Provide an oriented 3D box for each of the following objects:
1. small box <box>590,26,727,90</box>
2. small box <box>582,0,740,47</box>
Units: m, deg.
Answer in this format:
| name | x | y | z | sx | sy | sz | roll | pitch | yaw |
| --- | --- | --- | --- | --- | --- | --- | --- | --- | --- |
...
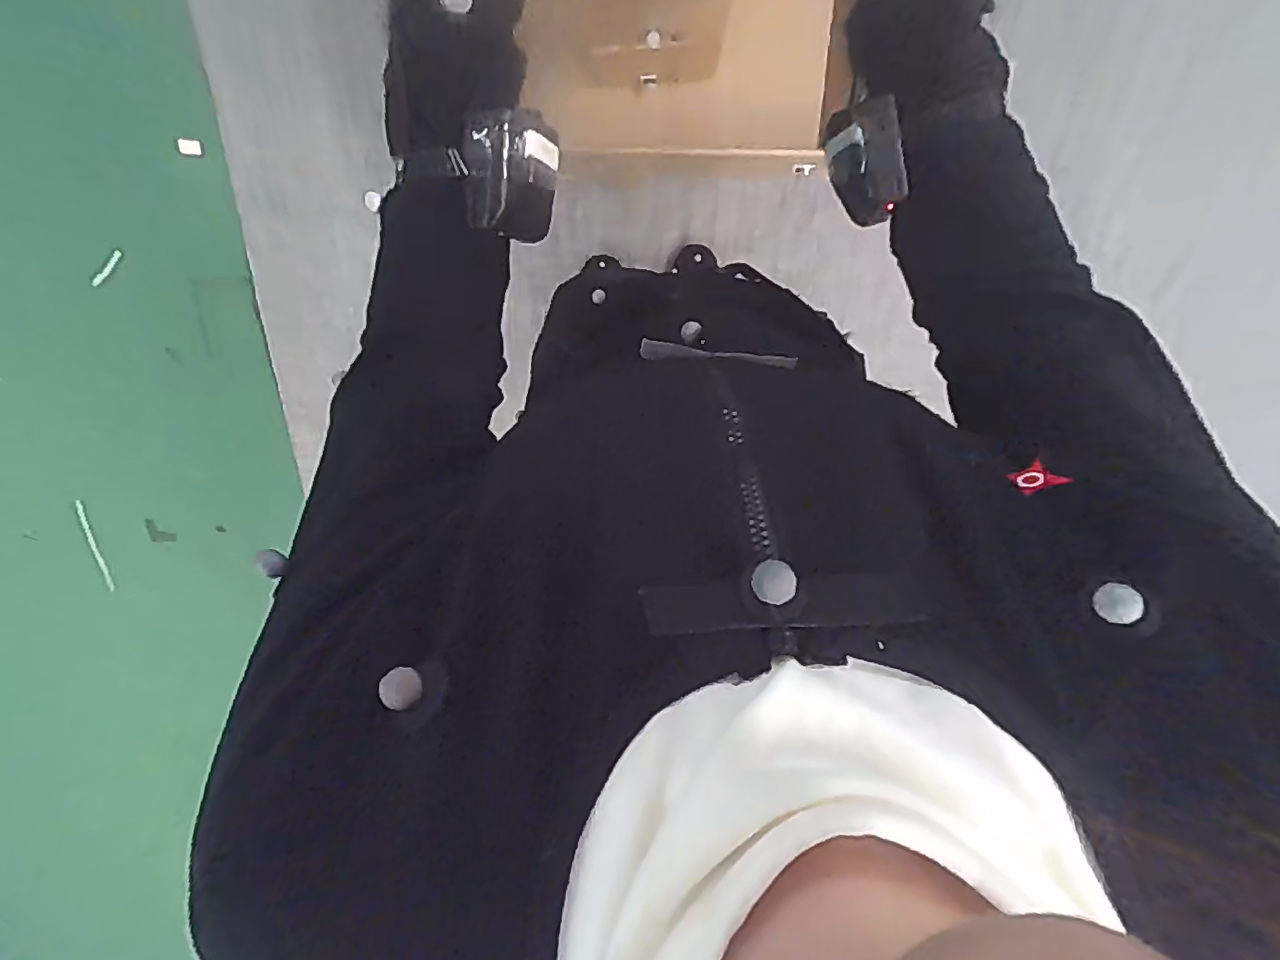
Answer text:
| name | x | y | z | sx | sy | sz | roll | pitch | yaw |
| --- | --- | --- | --- | --- | --- | --- | --- | --- | --- |
| small box | 0.020 | -0.630 | 0.691 | 0.168 | 0.176 | 0.179 | -2 | 113 | 3 |
| small box | 0.018 | -0.569 | 0.539 | 0.168 | 0.176 | 0.179 | 0 | 113 | 2 |
